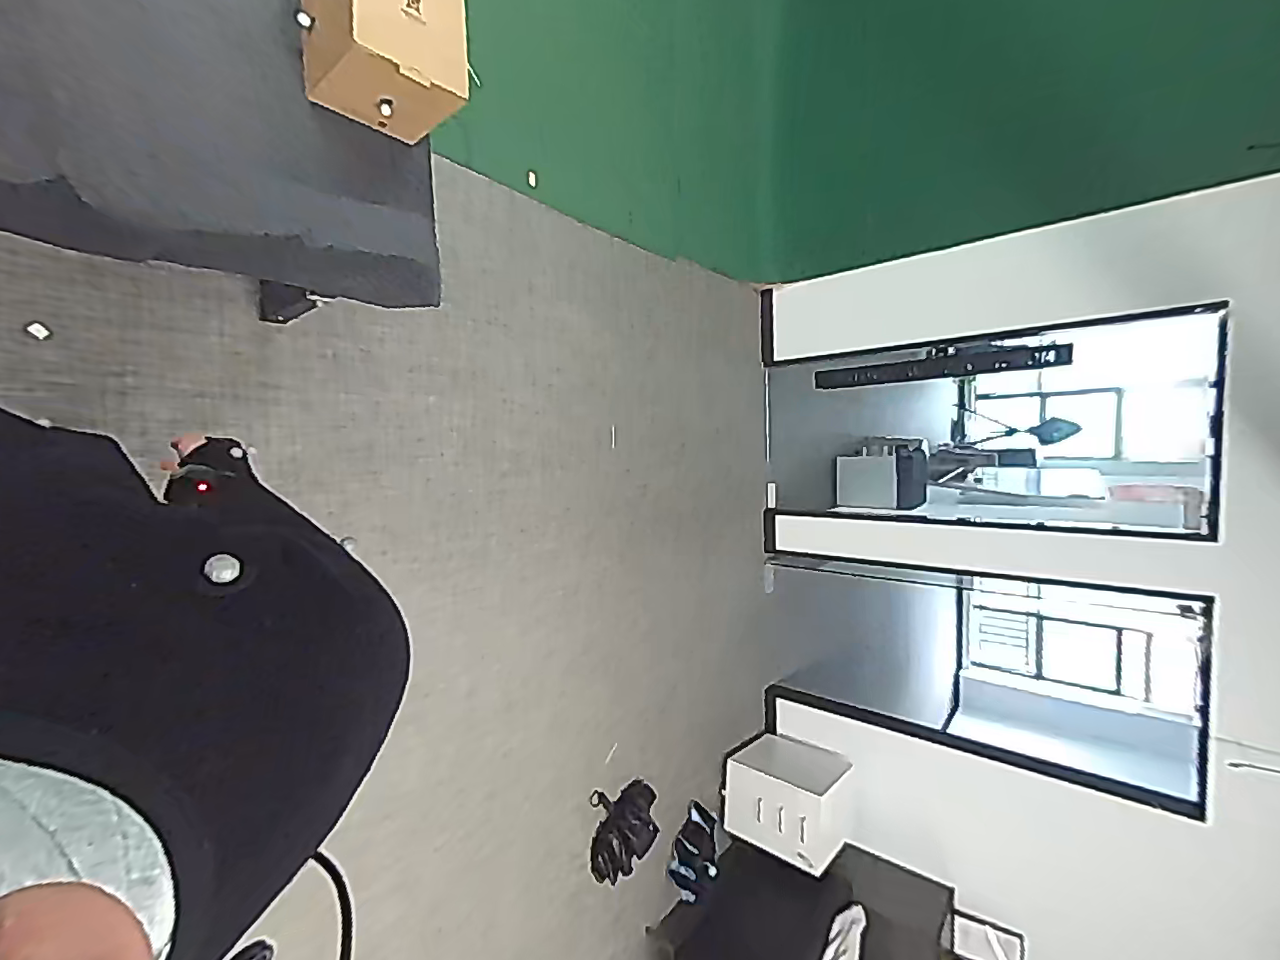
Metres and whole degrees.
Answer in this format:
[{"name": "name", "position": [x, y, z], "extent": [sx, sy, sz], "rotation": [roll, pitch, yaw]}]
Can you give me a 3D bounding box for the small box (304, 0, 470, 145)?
[{"name": "small box", "position": [-0.365, -0.626, 0.781], "extent": [0.168, 0.176, 0.179], "rotation": [-5, 95, -50]}]
